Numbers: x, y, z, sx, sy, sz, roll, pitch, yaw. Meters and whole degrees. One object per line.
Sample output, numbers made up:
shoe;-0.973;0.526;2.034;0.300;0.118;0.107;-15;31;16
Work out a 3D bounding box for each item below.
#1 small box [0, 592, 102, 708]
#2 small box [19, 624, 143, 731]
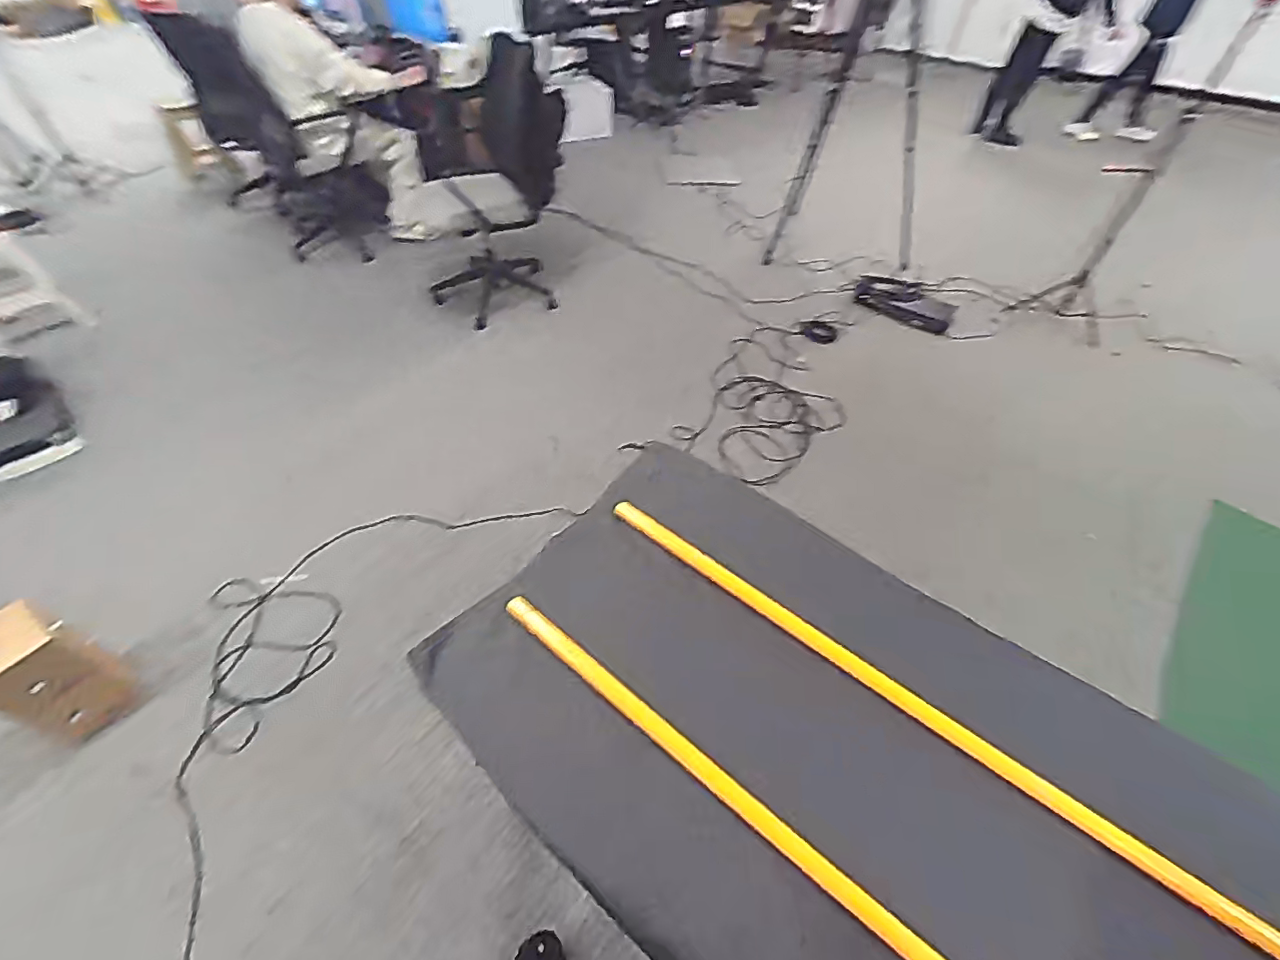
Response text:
small box;-1.416;0.399;1.246;0.179;0.176;0.168;28;53;21
small box;-1.429;0.506;1.371;0.179;0.176;0.168;29;54;22
